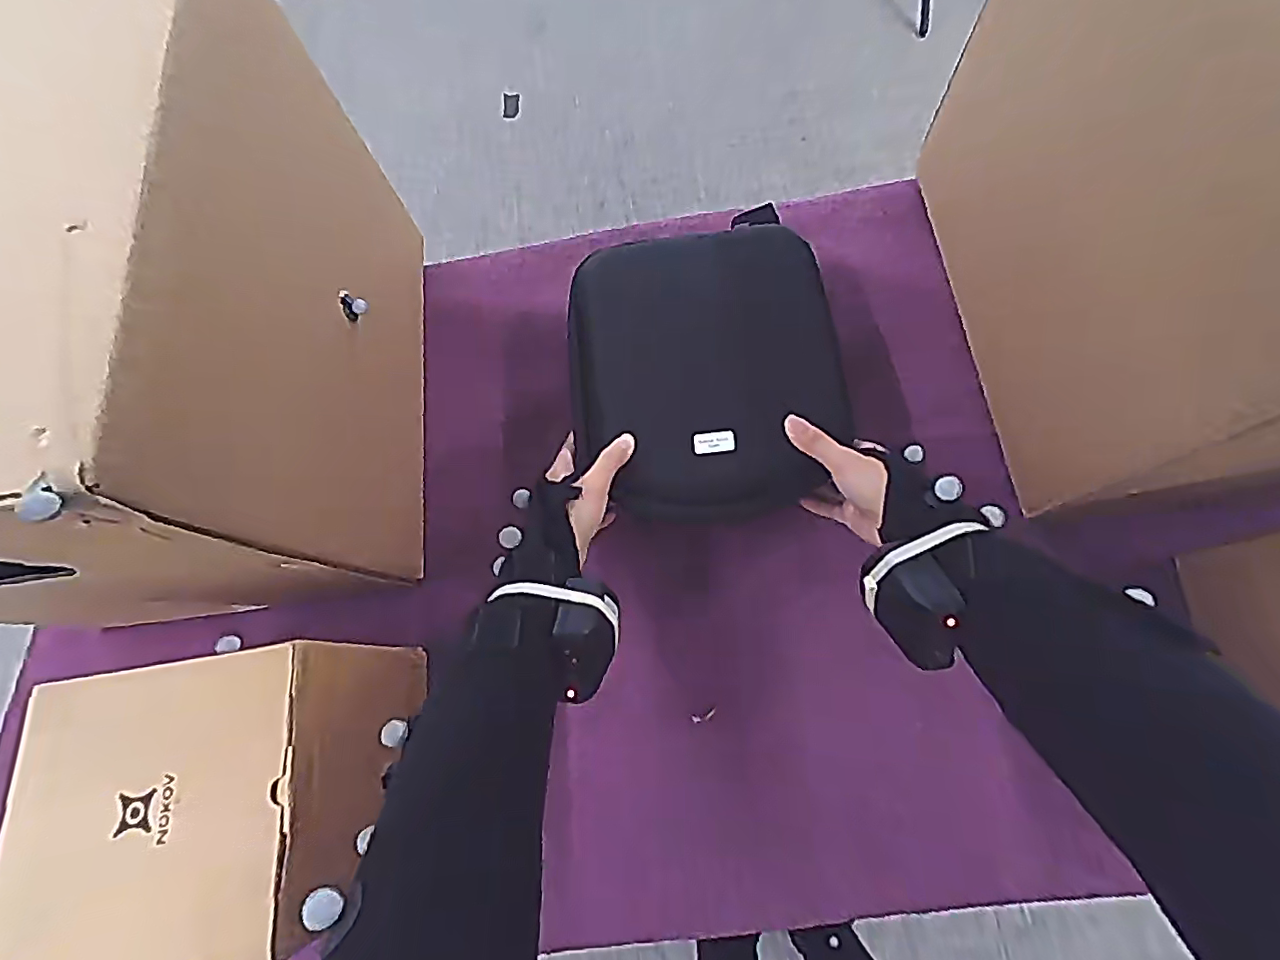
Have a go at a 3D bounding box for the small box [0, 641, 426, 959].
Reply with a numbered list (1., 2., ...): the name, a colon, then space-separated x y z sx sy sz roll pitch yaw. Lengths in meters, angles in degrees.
1. small box: -0.276 0.217 0.389 0.179 0.176 0.168 -10 70 2

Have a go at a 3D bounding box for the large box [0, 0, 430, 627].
1. large box: -0.385 -0.111 0.433 0.320 0.320 0.408 -9 73 2
